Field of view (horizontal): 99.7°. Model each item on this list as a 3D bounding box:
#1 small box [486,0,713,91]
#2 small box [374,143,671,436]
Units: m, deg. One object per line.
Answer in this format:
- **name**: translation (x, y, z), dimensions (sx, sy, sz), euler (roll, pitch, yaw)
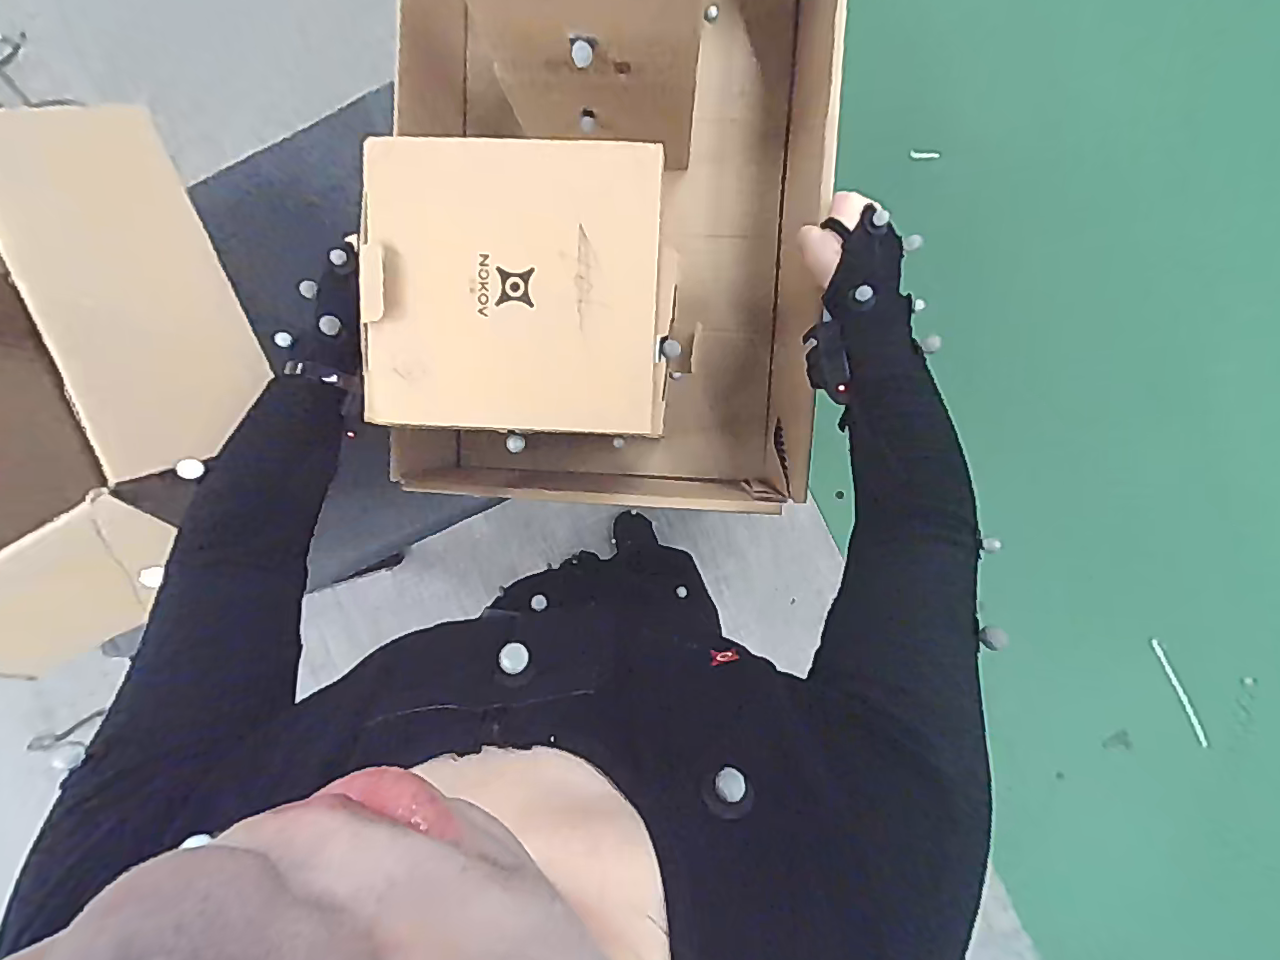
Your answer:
- **small box**: translation (-0.027, -0.409, 0.366), dimensions (0.168, 0.176, 0.179), euler (4, 97, 2)
- **small box**: translation (-0.070, -0.120, 0.401), dimensions (0.179, 0.176, 0.168), euler (3, 97, 1)
